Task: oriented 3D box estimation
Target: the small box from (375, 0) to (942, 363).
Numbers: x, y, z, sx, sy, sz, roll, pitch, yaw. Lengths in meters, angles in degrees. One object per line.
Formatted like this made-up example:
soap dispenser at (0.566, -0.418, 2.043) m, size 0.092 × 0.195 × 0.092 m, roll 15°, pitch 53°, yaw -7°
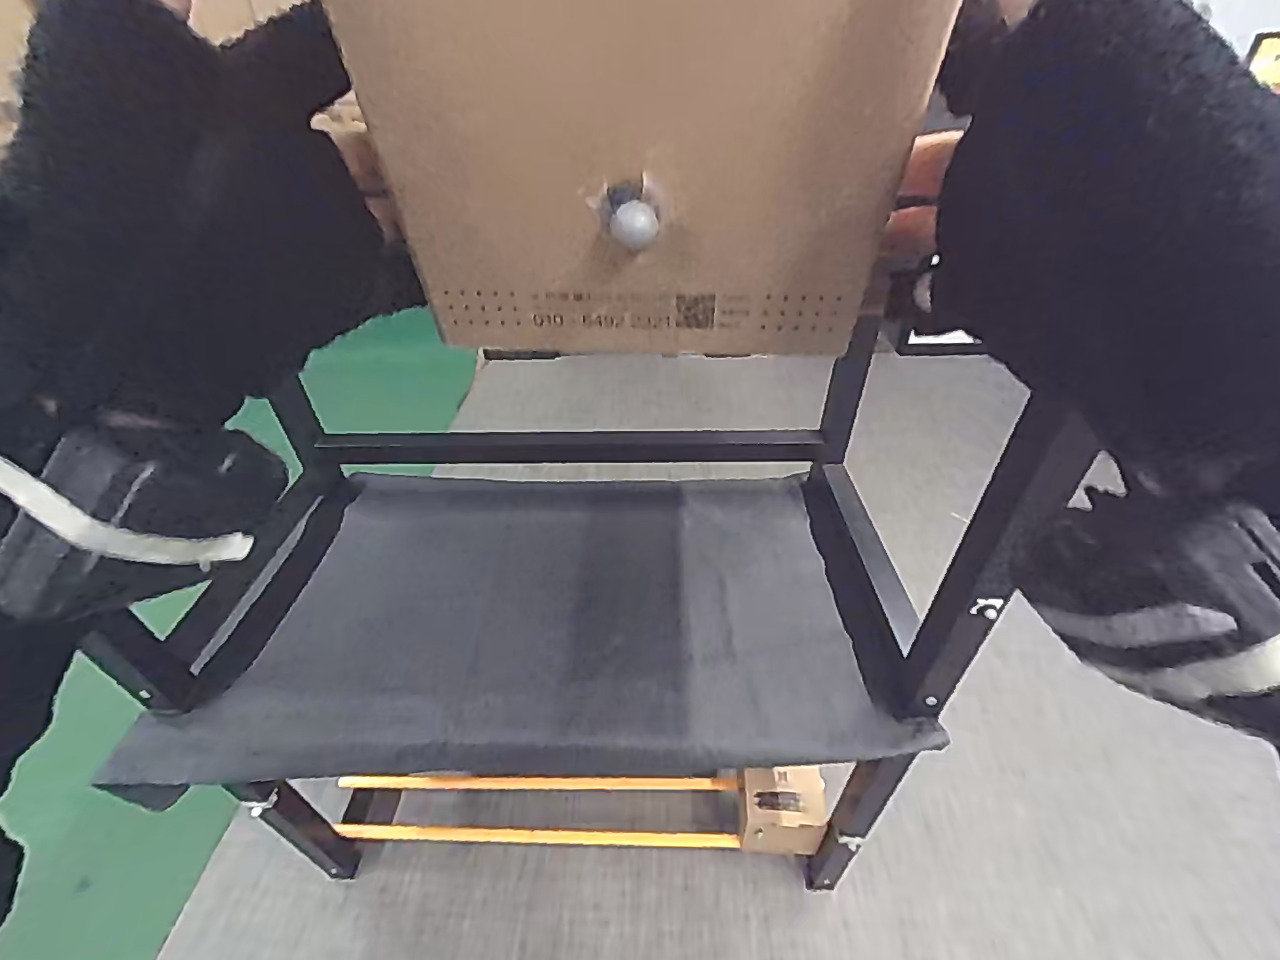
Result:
small box at (0.005, -0.171, 0.227) m, size 0.168 × 0.176 × 0.179 m, roll 2°, pitch 48°, yaw 4°
